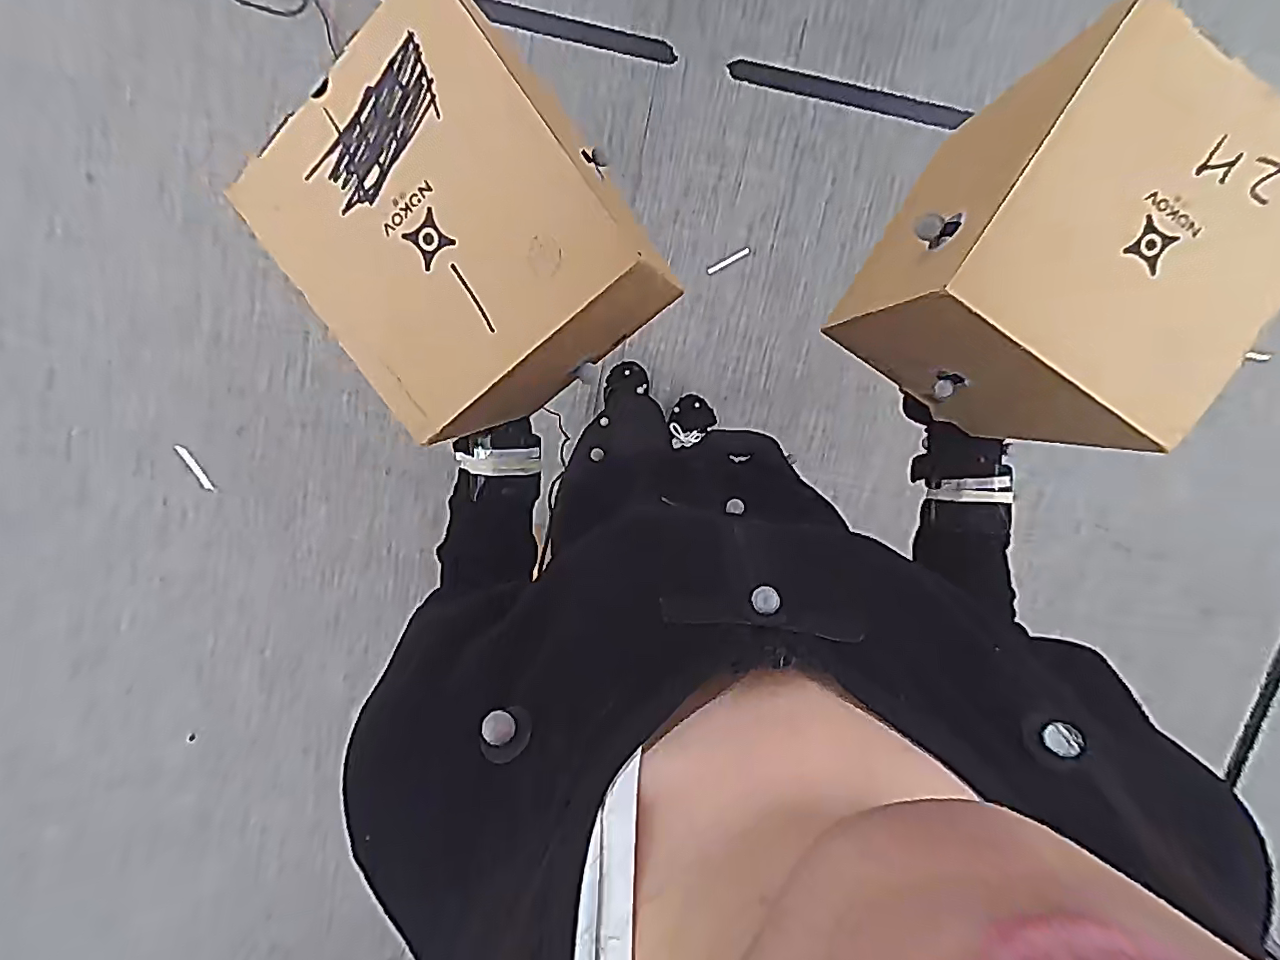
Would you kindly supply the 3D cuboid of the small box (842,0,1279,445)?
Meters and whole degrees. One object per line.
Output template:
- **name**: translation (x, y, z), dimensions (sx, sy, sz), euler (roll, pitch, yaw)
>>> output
- **small box**: translation (0.267, -0.143, 0.365), dimensions (0.168, 0.176, 0.179), euler (31, 94, -8)

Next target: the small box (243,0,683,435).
- **small box**: translation (-0.091, -0.154, 0.356), dimensions (0.168, 0.176, 0.179), euler (-35, 95, 18)
